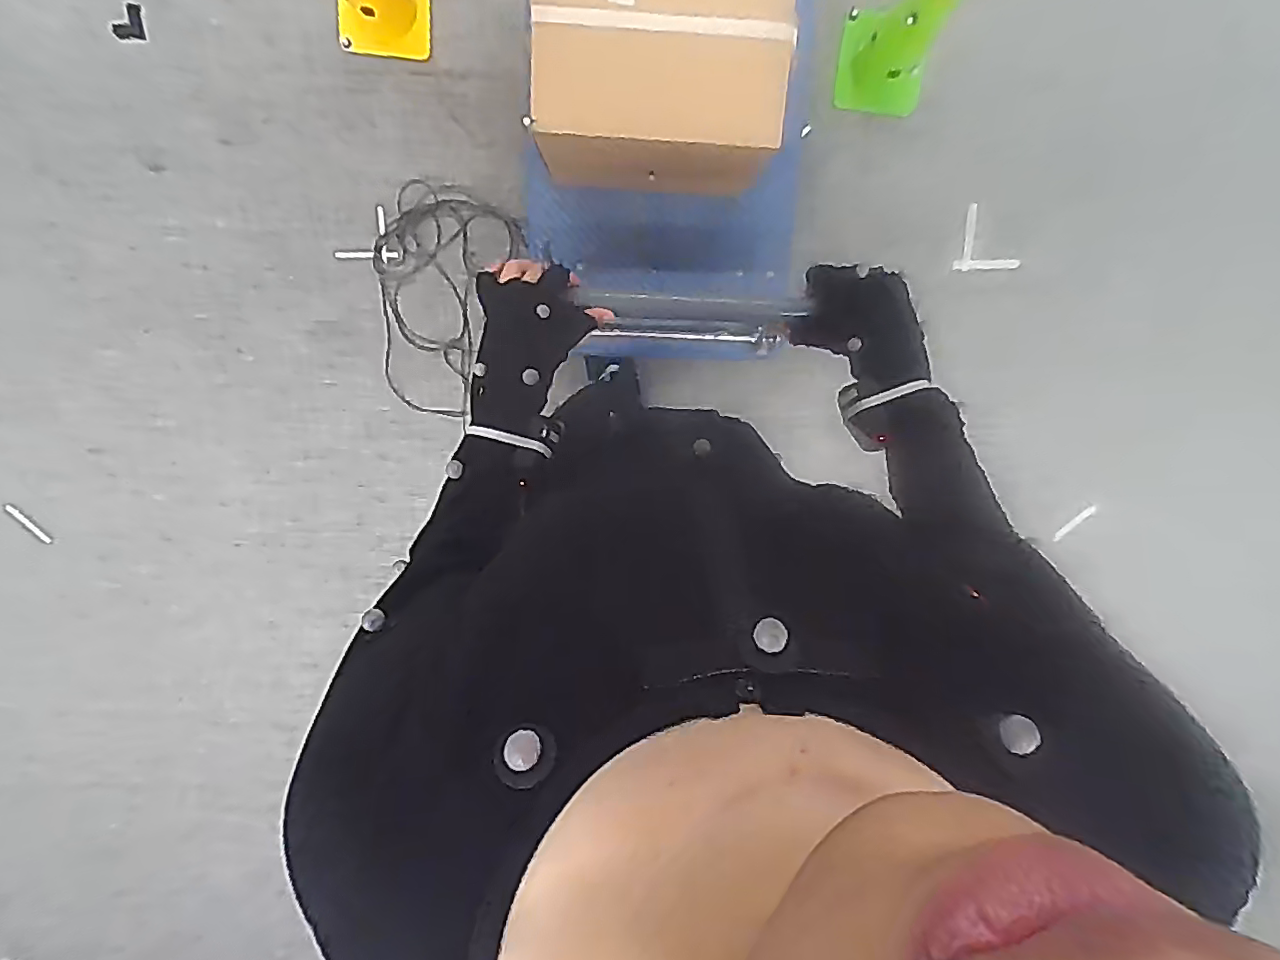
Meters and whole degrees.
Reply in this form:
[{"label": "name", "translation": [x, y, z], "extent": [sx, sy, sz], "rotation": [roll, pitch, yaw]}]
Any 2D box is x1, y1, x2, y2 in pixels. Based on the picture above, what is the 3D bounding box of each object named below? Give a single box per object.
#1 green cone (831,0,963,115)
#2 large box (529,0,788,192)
[{"label": "green cone", "translation": [0.565, -0.933, 1.098], "extent": [0.202, 0.368, 0.200], "rotation": [4, 103, -5]}, {"label": "large box", "translation": [0.026, -0.731, 0.979], "extent": [0.408, 0.320, 0.320], "rotation": [2, 104, -2]}]
